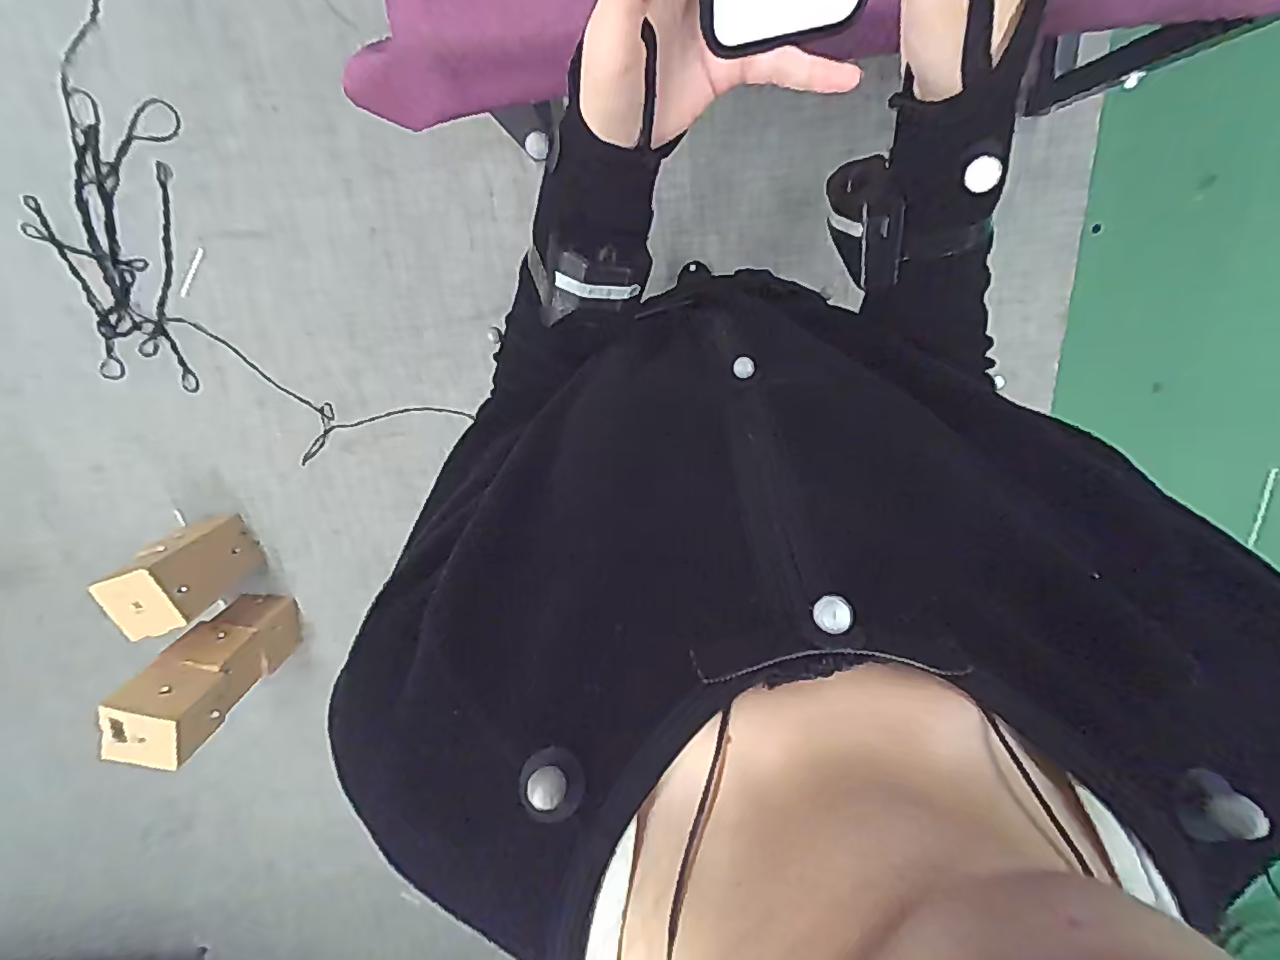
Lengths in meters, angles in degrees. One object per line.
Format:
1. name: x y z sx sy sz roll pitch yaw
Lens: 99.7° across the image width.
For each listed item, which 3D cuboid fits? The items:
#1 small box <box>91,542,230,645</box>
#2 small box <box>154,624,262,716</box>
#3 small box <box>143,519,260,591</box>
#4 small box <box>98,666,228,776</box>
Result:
1. small box: -1.226 0.289 1.400 0.168 0.176 0.179 -17 110 6
2. small box: -1.180 0.530 1.492 0.168 0.176 0.179 10 109 -3
3. small box: -1.239 0.227 1.551 0.179 0.176 0.168 -13 110 5
4. small box: -1.173 0.587 1.338 0.179 0.176 0.168 15 109 -5
